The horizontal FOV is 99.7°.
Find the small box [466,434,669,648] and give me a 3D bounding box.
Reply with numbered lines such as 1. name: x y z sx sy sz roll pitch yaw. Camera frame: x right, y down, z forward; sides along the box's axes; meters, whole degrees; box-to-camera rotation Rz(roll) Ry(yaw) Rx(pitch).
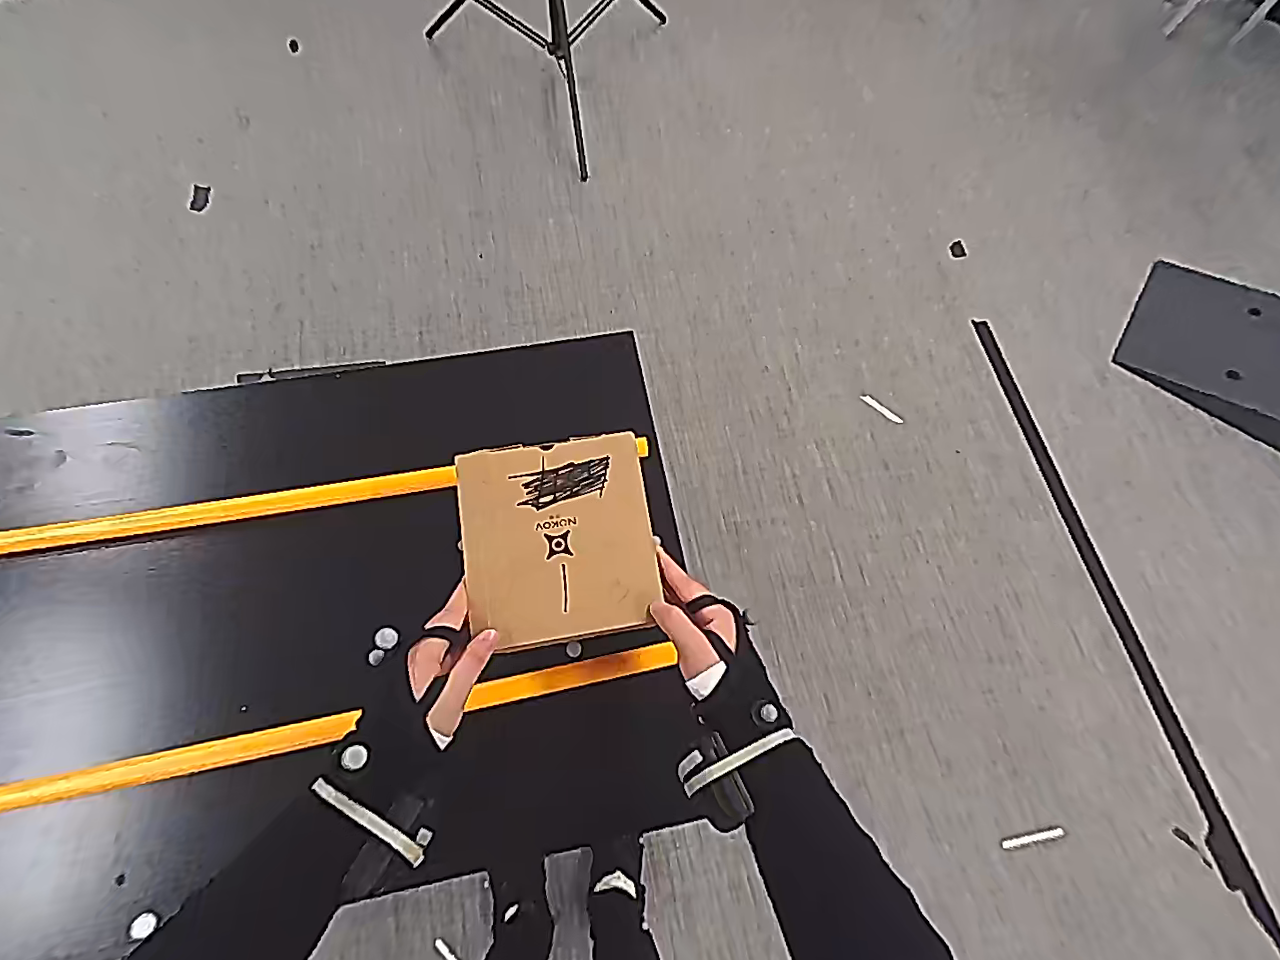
1. small box: -0.073 0.071 0.557 0.168 0.176 0.179 -8 74 -6
